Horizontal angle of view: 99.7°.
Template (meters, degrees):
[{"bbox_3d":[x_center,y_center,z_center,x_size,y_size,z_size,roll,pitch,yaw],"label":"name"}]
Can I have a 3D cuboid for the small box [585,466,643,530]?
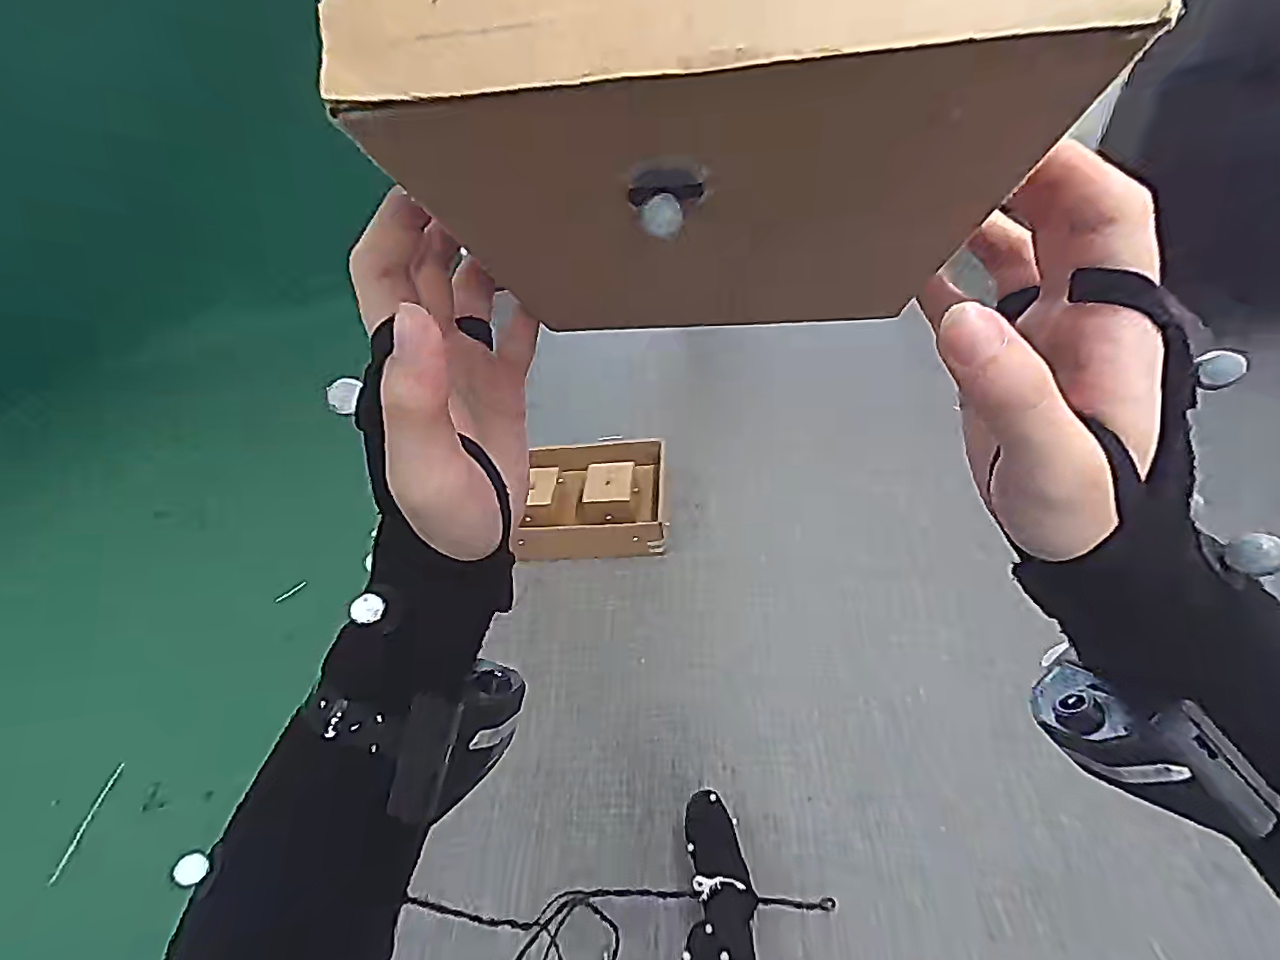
[{"bbox_3d":[-0.087,0.069,1.958,0.168,0.176,0.179,-2,49,11],"label":"small box"}]

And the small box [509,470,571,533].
[{"bbox_3d":[-0.364,0.085,2.008,0.168,0.176,0.179,-3,48,10],"label":"small box"}]

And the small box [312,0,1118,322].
[{"bbox_3d":[0.021,-0.164,0.198,0.179,0.176,0.168,0,88,8],"label":"small box"}]
